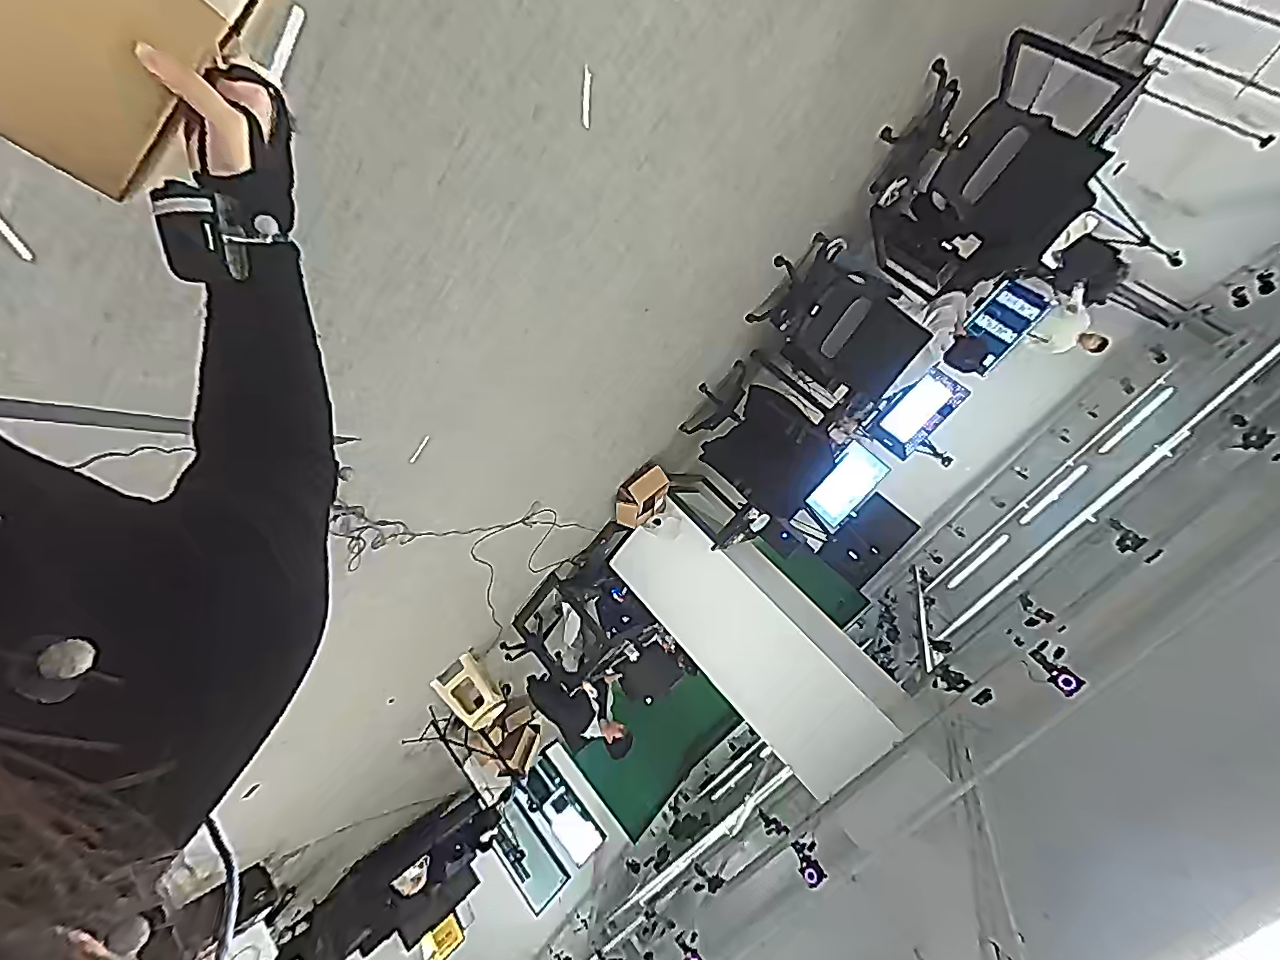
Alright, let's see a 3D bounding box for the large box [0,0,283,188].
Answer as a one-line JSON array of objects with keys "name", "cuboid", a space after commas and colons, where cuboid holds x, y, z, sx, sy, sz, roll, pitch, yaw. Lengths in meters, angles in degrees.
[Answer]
[{"name": "large box", "cuboid": [-0.467, -0.466, 0.343, 0.408, 0.320, 0.320, 31, 98, -43]}]
